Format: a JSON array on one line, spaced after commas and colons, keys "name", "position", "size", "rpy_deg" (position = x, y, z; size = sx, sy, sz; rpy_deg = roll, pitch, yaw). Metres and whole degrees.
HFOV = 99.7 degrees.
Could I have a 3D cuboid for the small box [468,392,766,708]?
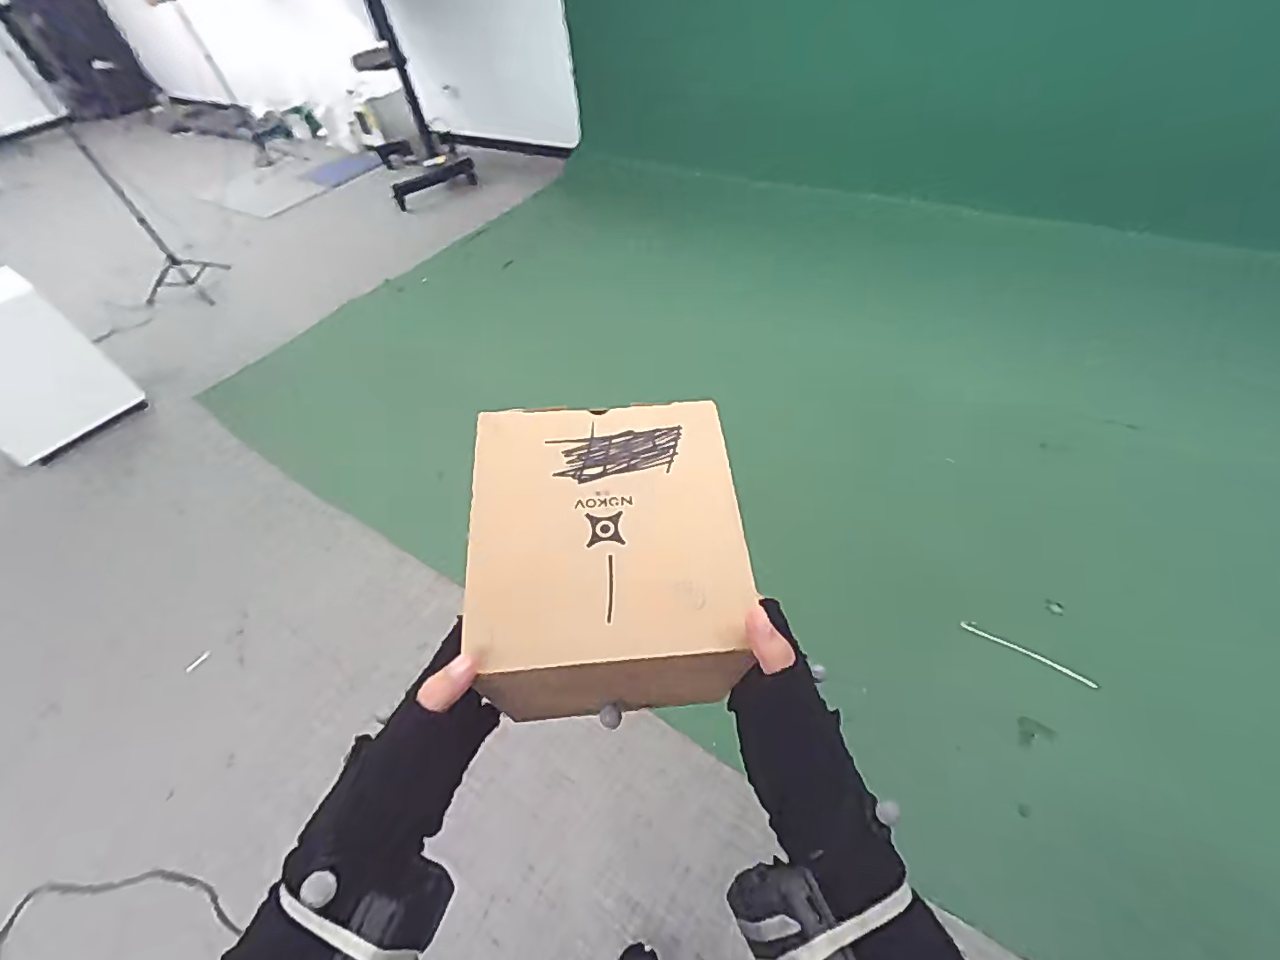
[{"name": "small box", "position": [-0.021, 0.057, 0.404], "size": [0.168, 0.176, 0.179], "rpy_deg": [-4, 58, -4]}]
